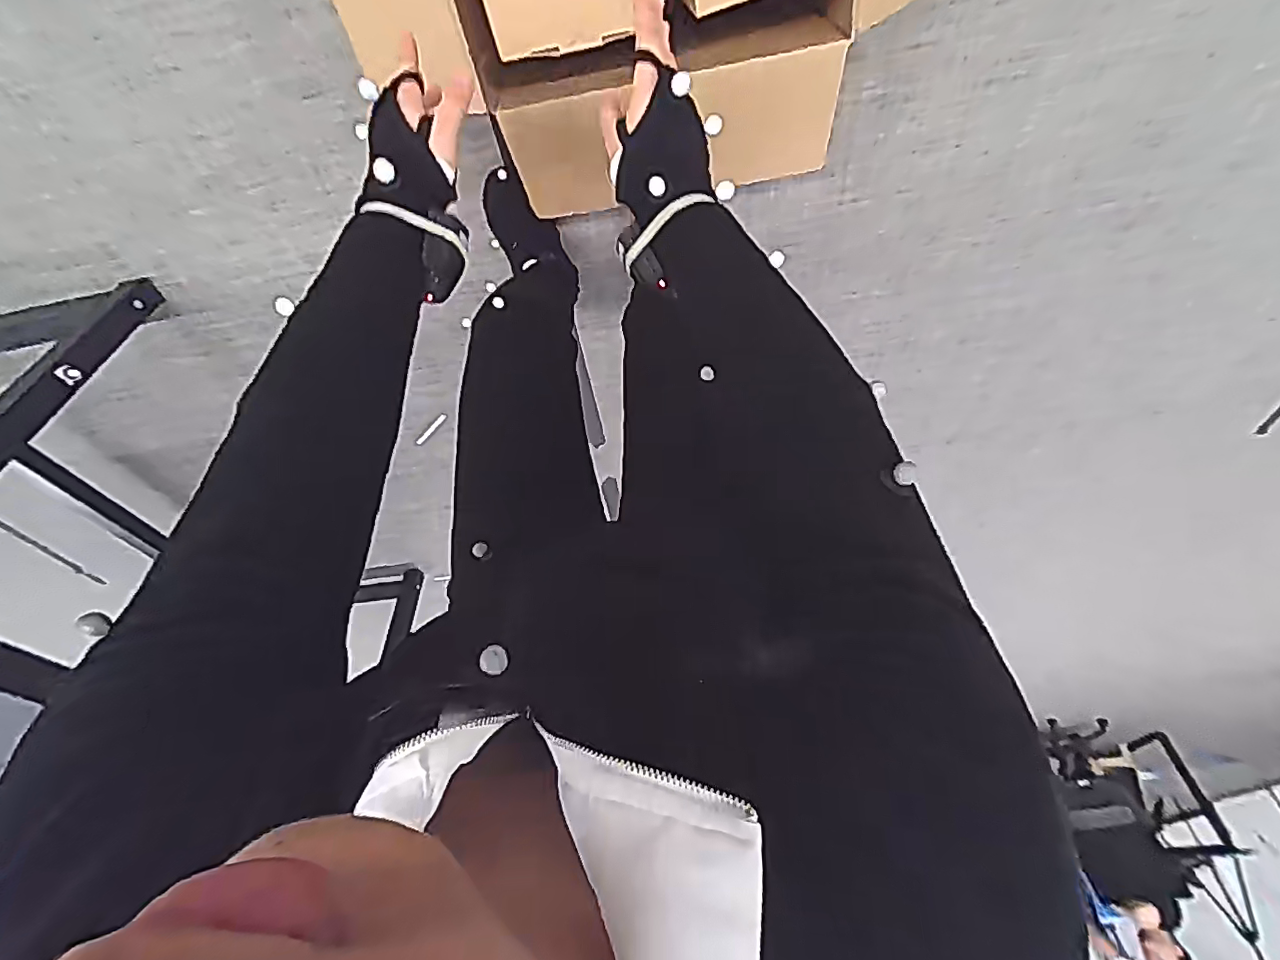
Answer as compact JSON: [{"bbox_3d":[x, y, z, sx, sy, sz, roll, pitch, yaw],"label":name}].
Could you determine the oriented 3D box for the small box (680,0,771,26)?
[{"bbox_3d":[0.101,-0.572,0.501,0.168,0.176,0.179,-14,139,7],"label":"small box"}]
